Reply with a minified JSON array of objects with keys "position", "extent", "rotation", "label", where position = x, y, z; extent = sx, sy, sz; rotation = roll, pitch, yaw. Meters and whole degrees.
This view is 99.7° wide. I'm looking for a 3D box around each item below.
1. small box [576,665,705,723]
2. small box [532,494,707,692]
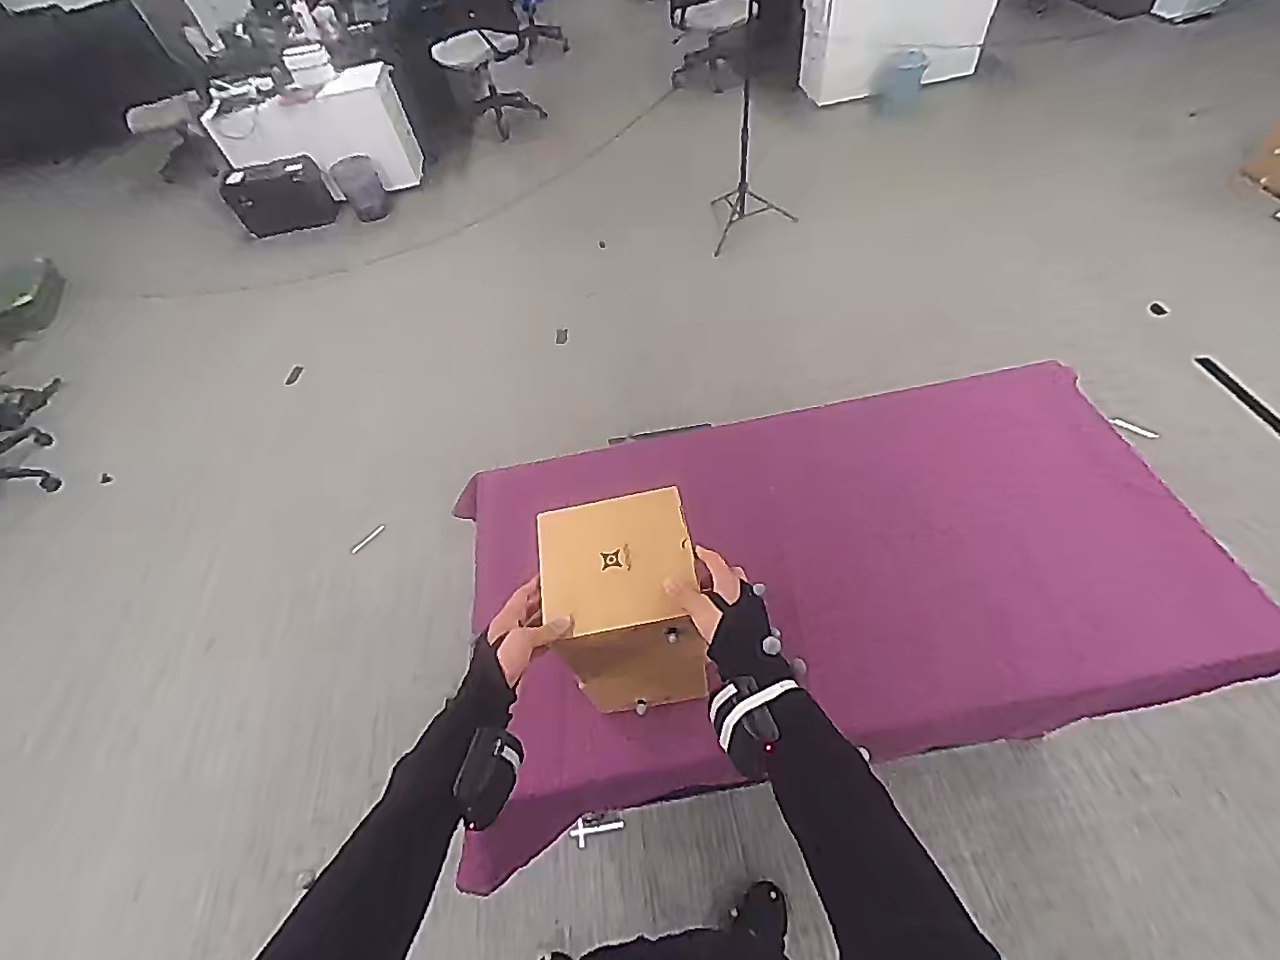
[{"position":[-0.002,0.236,0.794],"extent":[0.168,0.176,0.179],"rotation":[-11,54,2],"label":"small box"},{"position":[-0.022,0.145,0.661],"extent":[0.179,0.176,0.168],"rotation":[-12,53,1],"label":"small box"}]
